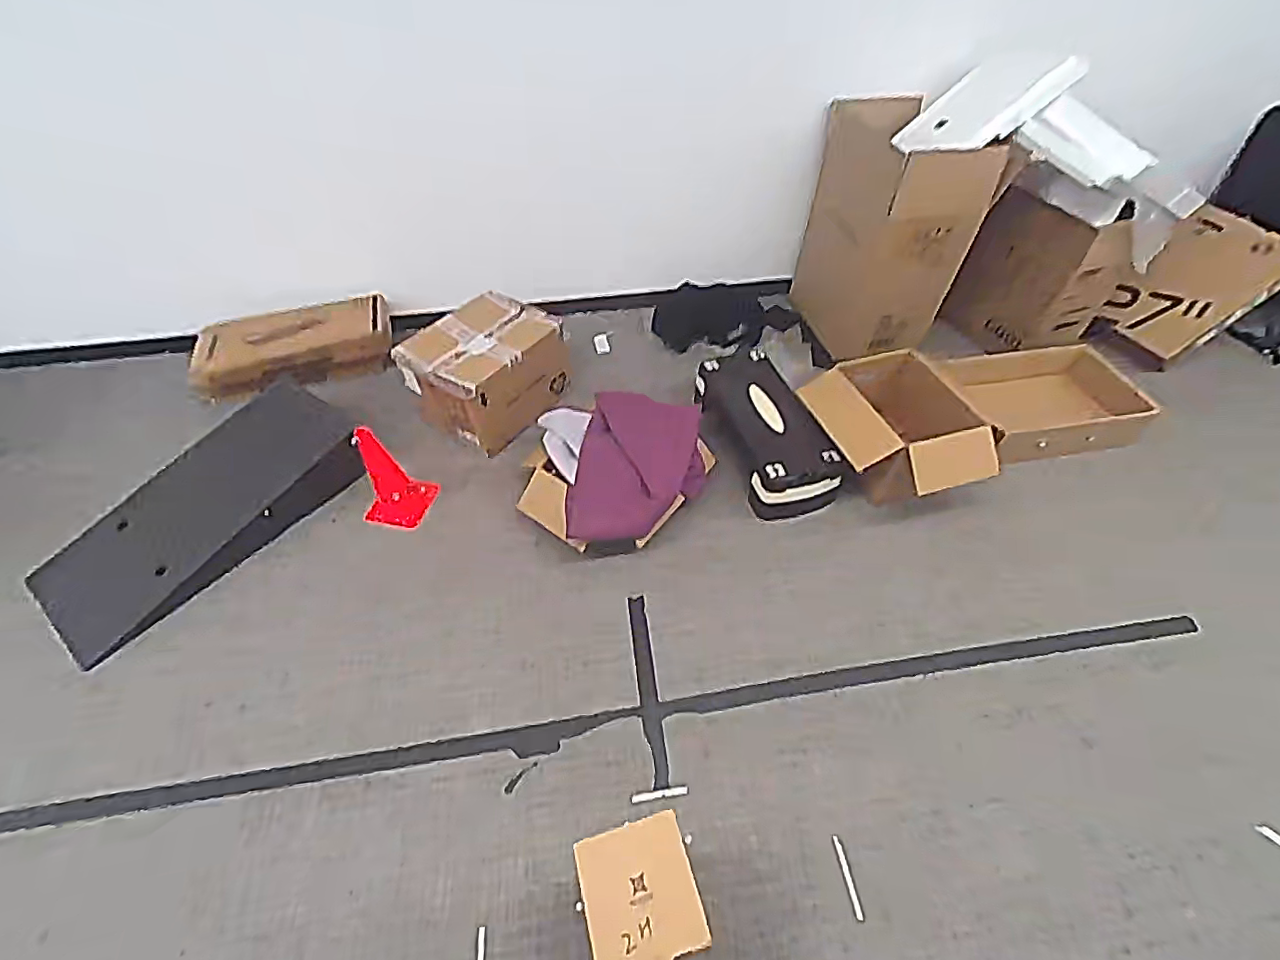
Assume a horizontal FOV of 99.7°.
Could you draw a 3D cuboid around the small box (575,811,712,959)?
[{"bbox_3d":[0.001,0.656,0.849,0.168,0.176,0.179,-14,51,-9],"label":"small box"}]
